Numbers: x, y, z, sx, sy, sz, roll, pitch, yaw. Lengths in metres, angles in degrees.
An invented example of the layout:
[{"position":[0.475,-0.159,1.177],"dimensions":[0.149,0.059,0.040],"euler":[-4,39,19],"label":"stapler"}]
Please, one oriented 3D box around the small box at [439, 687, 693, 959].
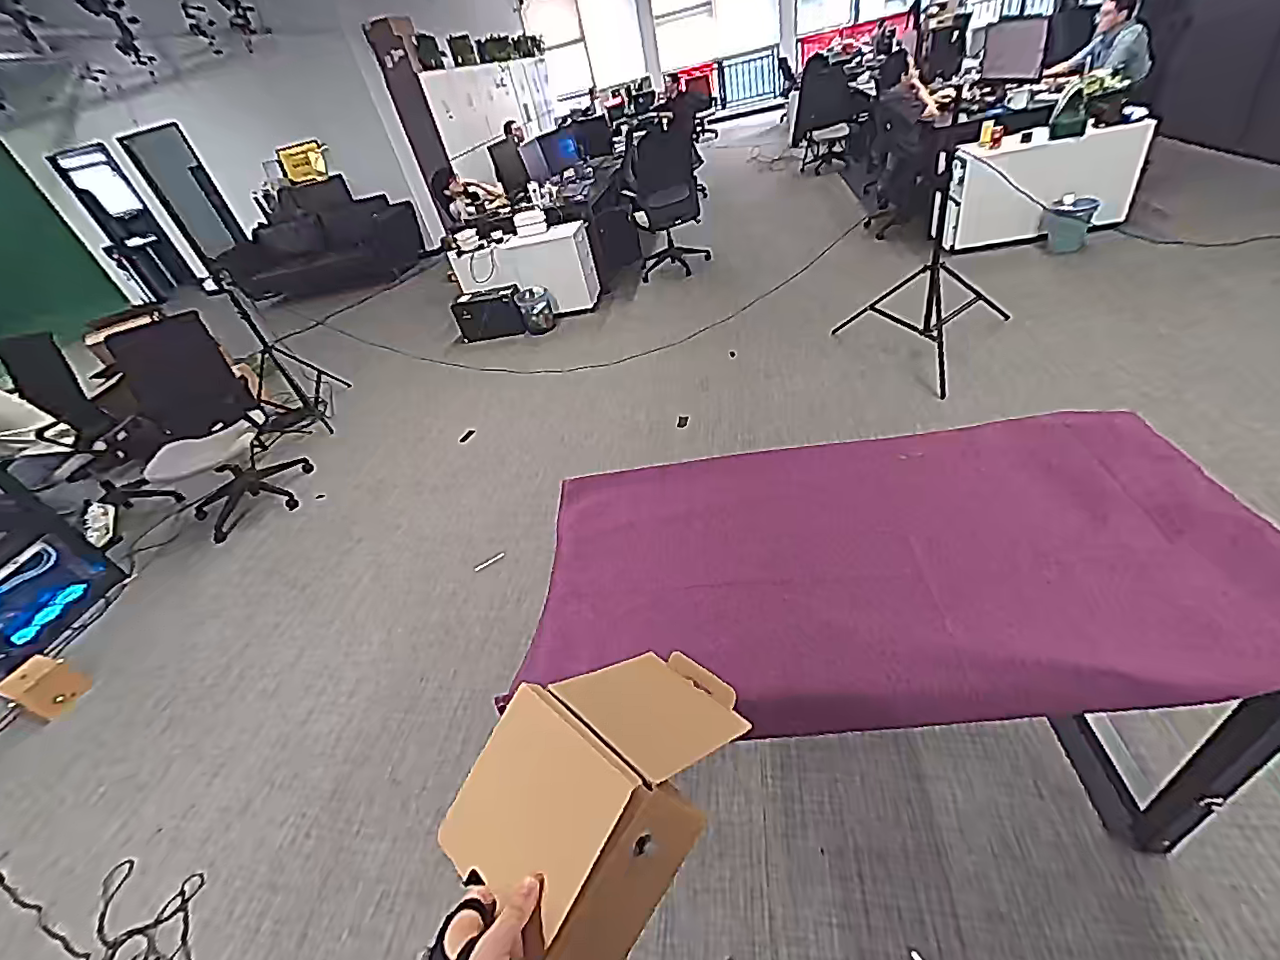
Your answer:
[{"position":[-0.063,0.360,0.568],"dimensions":[0.168,0.176,0.179],"euler":[23,66,41],"label":"small box"}]
